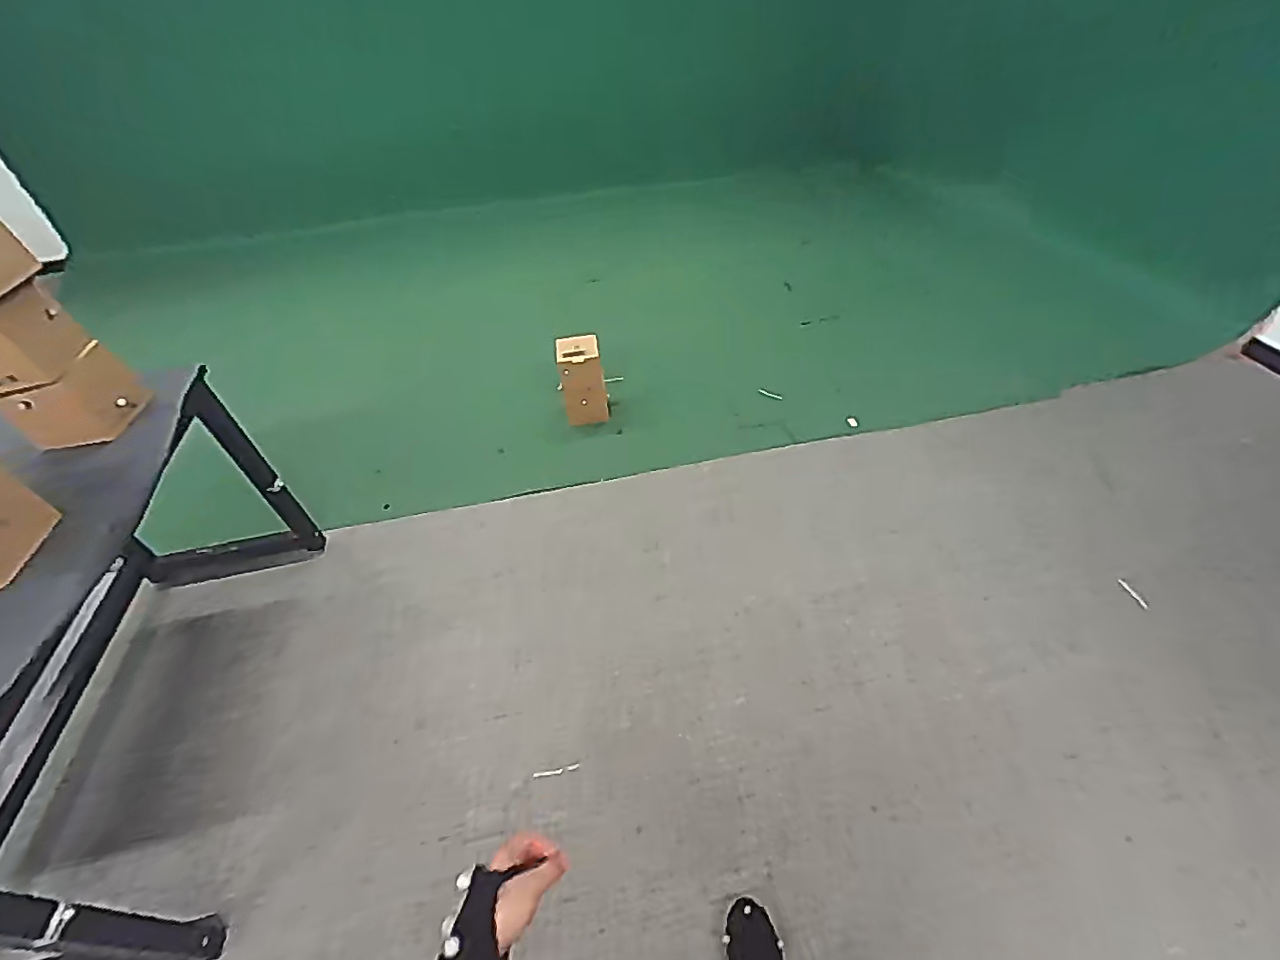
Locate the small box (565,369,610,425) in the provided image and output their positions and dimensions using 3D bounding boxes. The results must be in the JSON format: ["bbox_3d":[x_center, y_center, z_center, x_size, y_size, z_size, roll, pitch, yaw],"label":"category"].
[{"bbox_3d":[-0.223,-0.356,2.333,0.179,0.176,0.168,-8,46,-2],"label":"small box"}]

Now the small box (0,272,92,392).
[{"bbox_3d":[-1.303,-0.303,1.111,0.168,0.176,0.179,-14,48,-4],"label":"small box"}]

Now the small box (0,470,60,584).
[{"bbox_3d":[-1.214,0.083,0.956,0.168,0.176,0.179,-10,46,-3],"label":"small box"}]

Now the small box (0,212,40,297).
[{"bbox_3d":[-1.301,-0.430,1.003,0.168,0.176,0.179,-11,46,-1],"label":"small box"}]

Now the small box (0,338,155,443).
[{"bbox_3d":[-1.290,-0.199,1.235,0.179,0.176,0.168,-7,46,0],"label":"small box"}]
